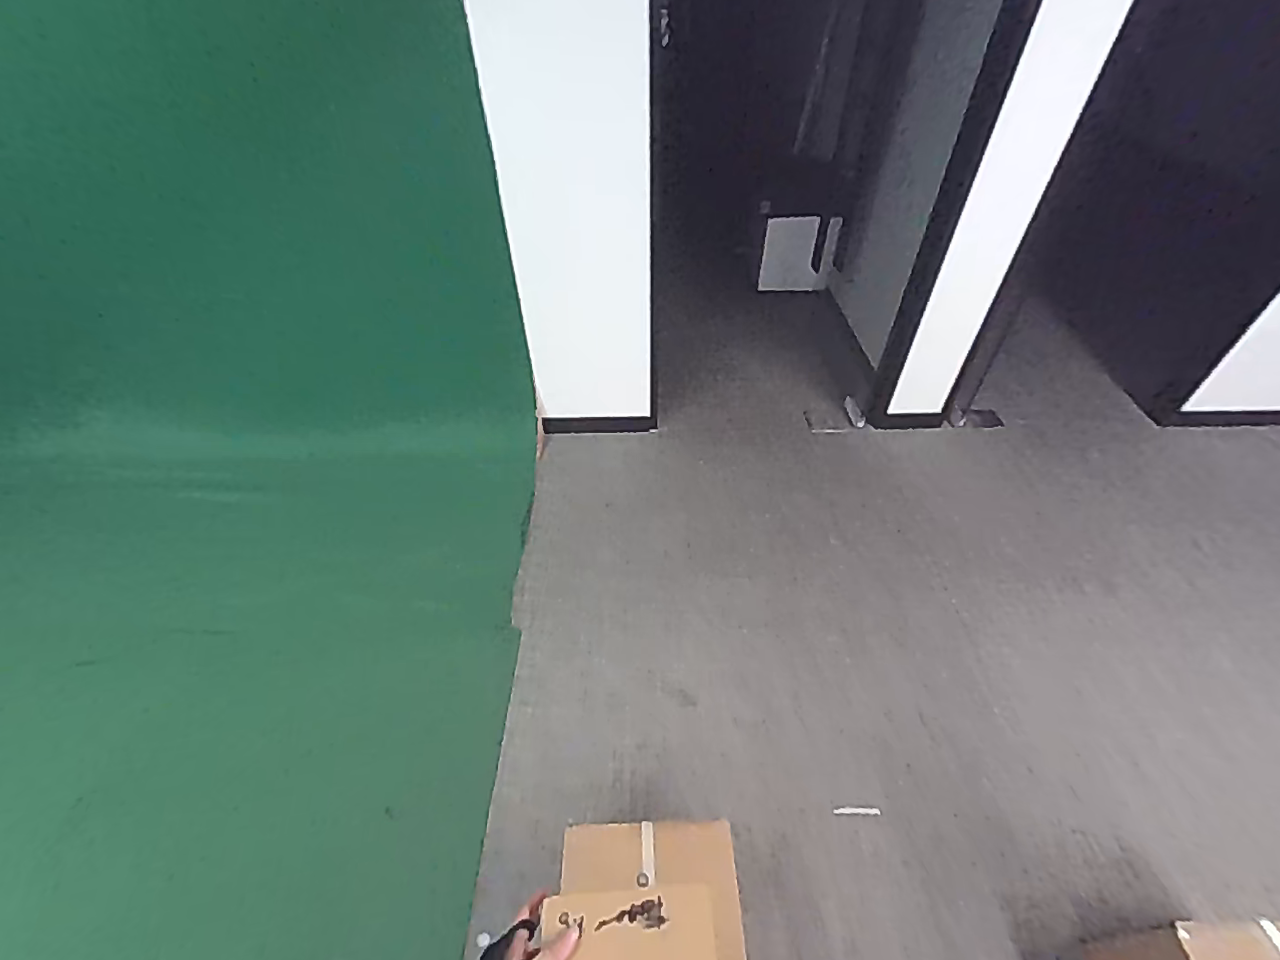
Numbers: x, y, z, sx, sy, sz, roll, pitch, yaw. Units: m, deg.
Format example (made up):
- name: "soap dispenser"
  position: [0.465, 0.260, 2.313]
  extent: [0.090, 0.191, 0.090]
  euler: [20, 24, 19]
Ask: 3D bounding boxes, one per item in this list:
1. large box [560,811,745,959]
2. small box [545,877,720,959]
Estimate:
- name: "large box"
  position: [0.021, 0.880, 0.986]
  extent: [0.320, 0.320, 0.408]
  euler: [-1, 44, 0]
- name: "small box"
  position: [-0.003, 0.520, 0.537]
  extent: [0.168, 0.176, 0.179]
  euler: [-4, 45, -2]
